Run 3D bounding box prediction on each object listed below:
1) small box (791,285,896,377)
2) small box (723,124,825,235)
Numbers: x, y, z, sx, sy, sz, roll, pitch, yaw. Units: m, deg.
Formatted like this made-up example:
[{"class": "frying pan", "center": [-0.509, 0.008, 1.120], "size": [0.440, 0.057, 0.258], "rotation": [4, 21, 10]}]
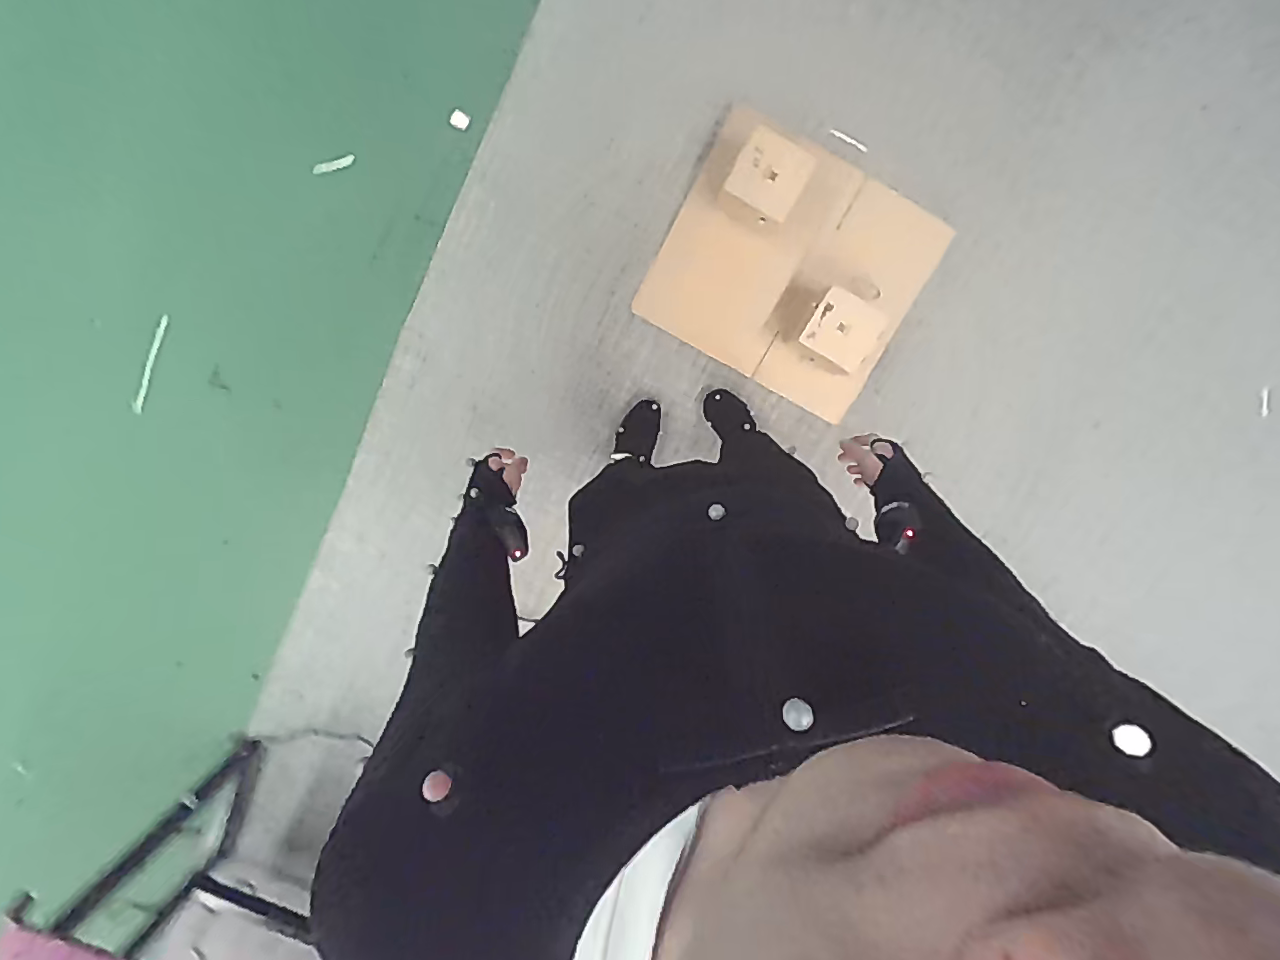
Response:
[{"class": "small box", "center": [0.533, -0.394, 1.442], "size": [0.179, 0.176, 0.168], "rotation": [31, 101, -4]}, {"class": "small box", "center": [0.330, -0.747, 1.370], "size": [0.179, 0.176, 0.168], "rotation": [30, 101, -4]}]
